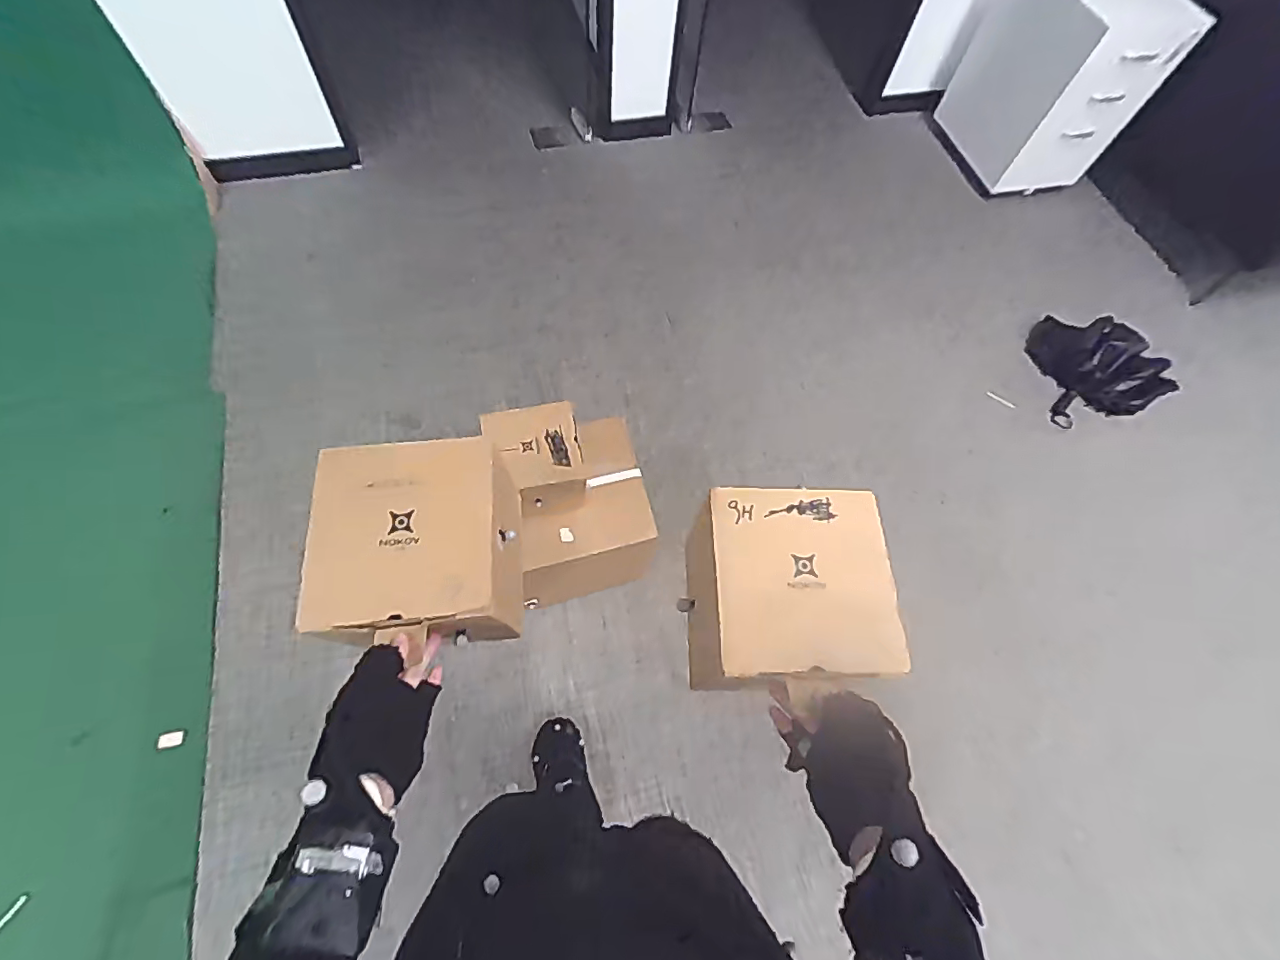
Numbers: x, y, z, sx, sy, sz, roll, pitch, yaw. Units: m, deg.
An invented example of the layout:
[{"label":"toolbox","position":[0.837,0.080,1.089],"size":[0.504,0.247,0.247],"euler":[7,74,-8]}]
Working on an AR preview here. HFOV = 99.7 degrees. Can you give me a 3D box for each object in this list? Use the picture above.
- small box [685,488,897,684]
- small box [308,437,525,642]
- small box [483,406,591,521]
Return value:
[{"label":"small box","position":[0.141,0.121,0.573],"size":[0.168,0.176,0.179],"euler":[2,66,-3]},{"label":"small box","position":[-0.221,0.075,0.583],"size":[0.168,0.176,0.179],"euler":[-6,66,-4]},{"label":"small box","position":[-0.204,-0.027,1.086],"size":[0.179,0.176,0.168],"euler":[-13,72,-11]}]
